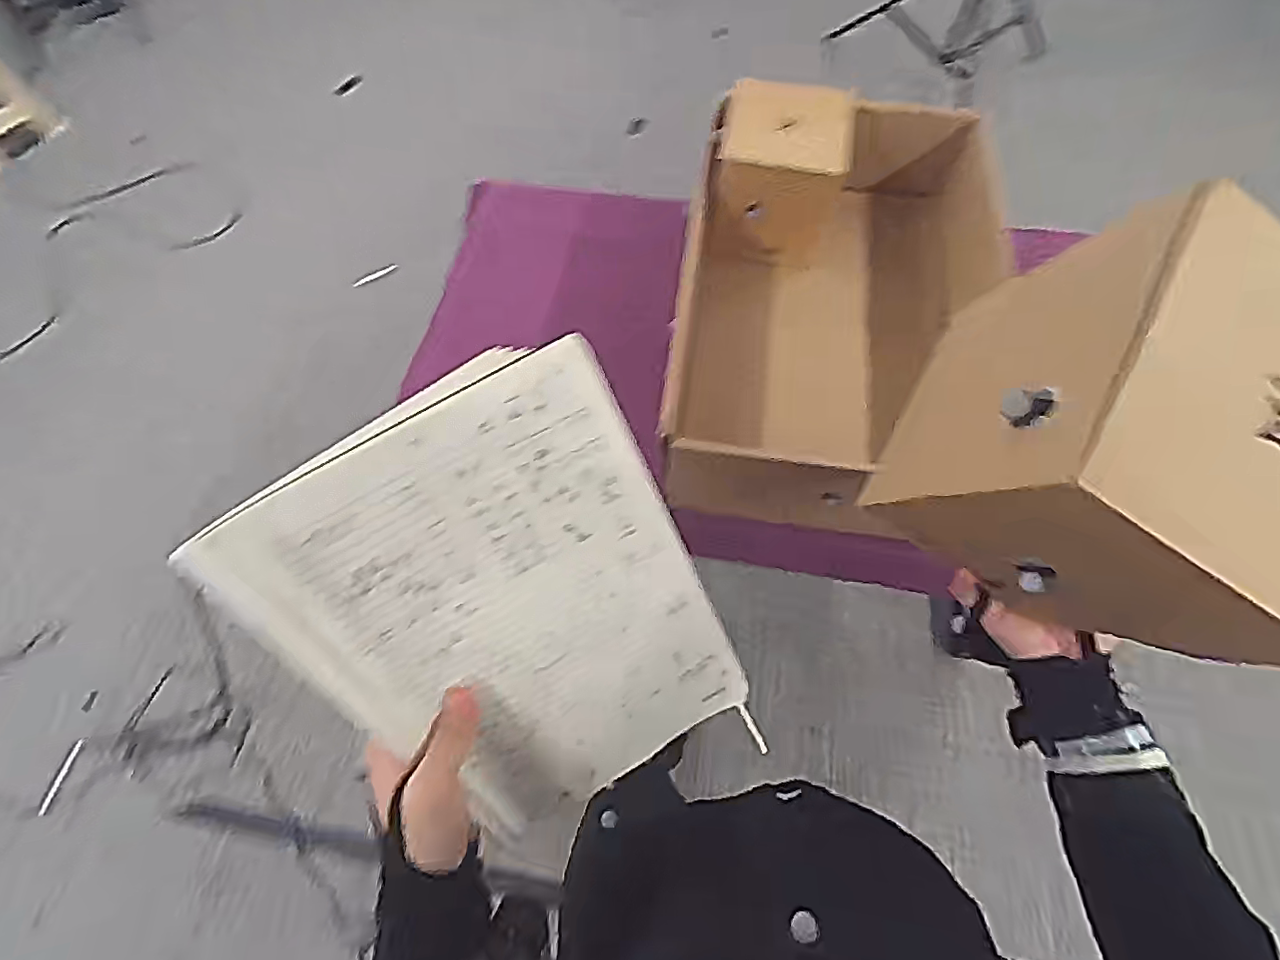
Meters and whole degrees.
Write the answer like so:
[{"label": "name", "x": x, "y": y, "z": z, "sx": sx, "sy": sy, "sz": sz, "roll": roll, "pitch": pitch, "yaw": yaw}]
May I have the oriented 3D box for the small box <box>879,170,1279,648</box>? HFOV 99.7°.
[{"label": "small box", "x": 0.278, "y": -0.022, "z": 0.322, "sx": 0.168, "sy": 0.176, "sz": 0.179, "roll": 32, "pitch": 79, "yaw": -5}]
